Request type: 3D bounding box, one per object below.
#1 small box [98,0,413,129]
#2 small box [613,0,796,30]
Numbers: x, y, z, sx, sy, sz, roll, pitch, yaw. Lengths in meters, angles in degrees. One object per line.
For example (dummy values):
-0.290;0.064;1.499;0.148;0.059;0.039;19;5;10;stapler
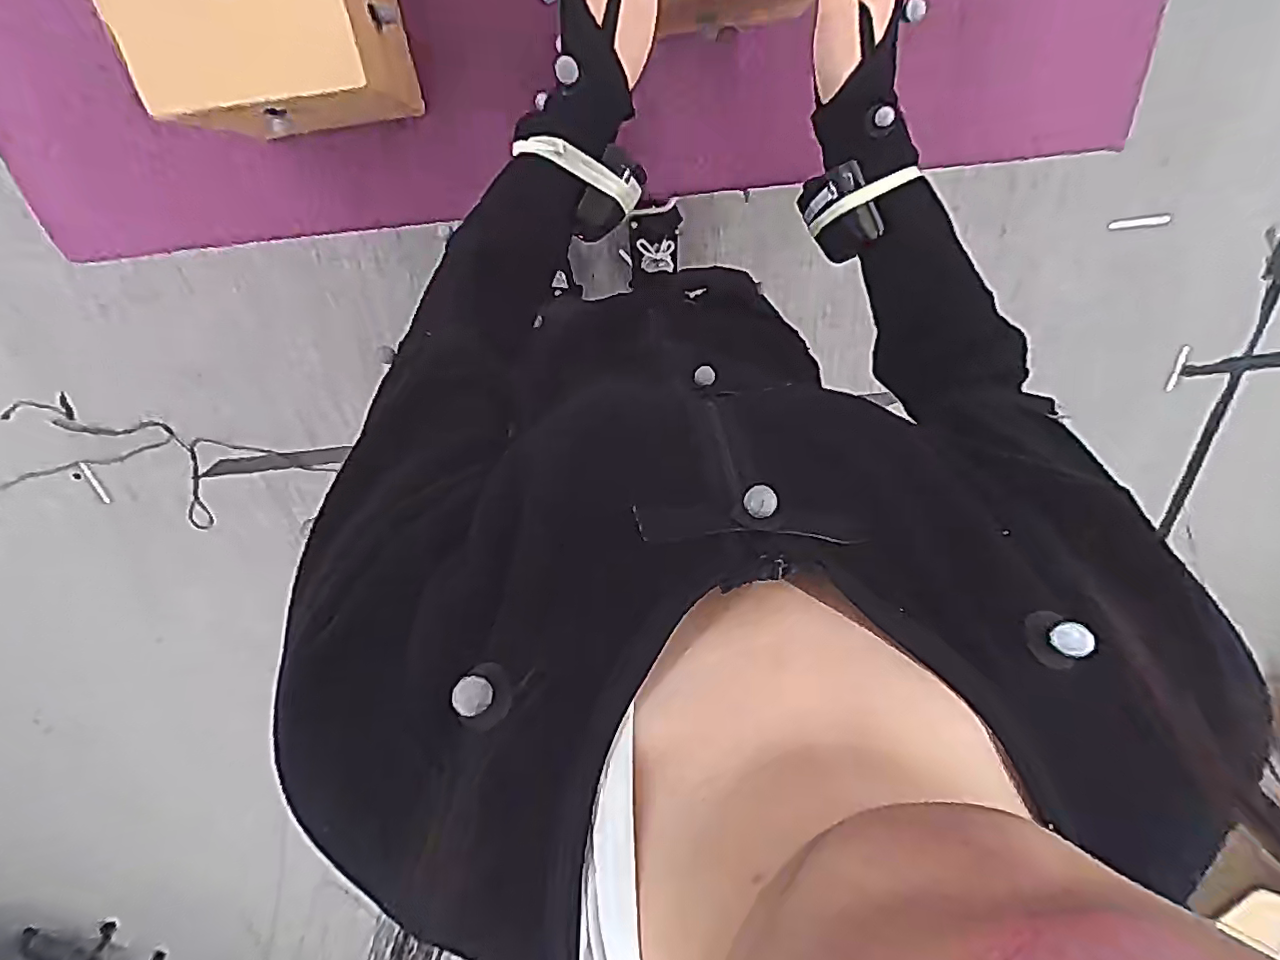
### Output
-0.310;-0.405;0.452;0.179;0.176;0.168;-8;119;1;small box
0.051;-0.457;0.387;0.168;0.176;0.179;-5;122;2;small box
